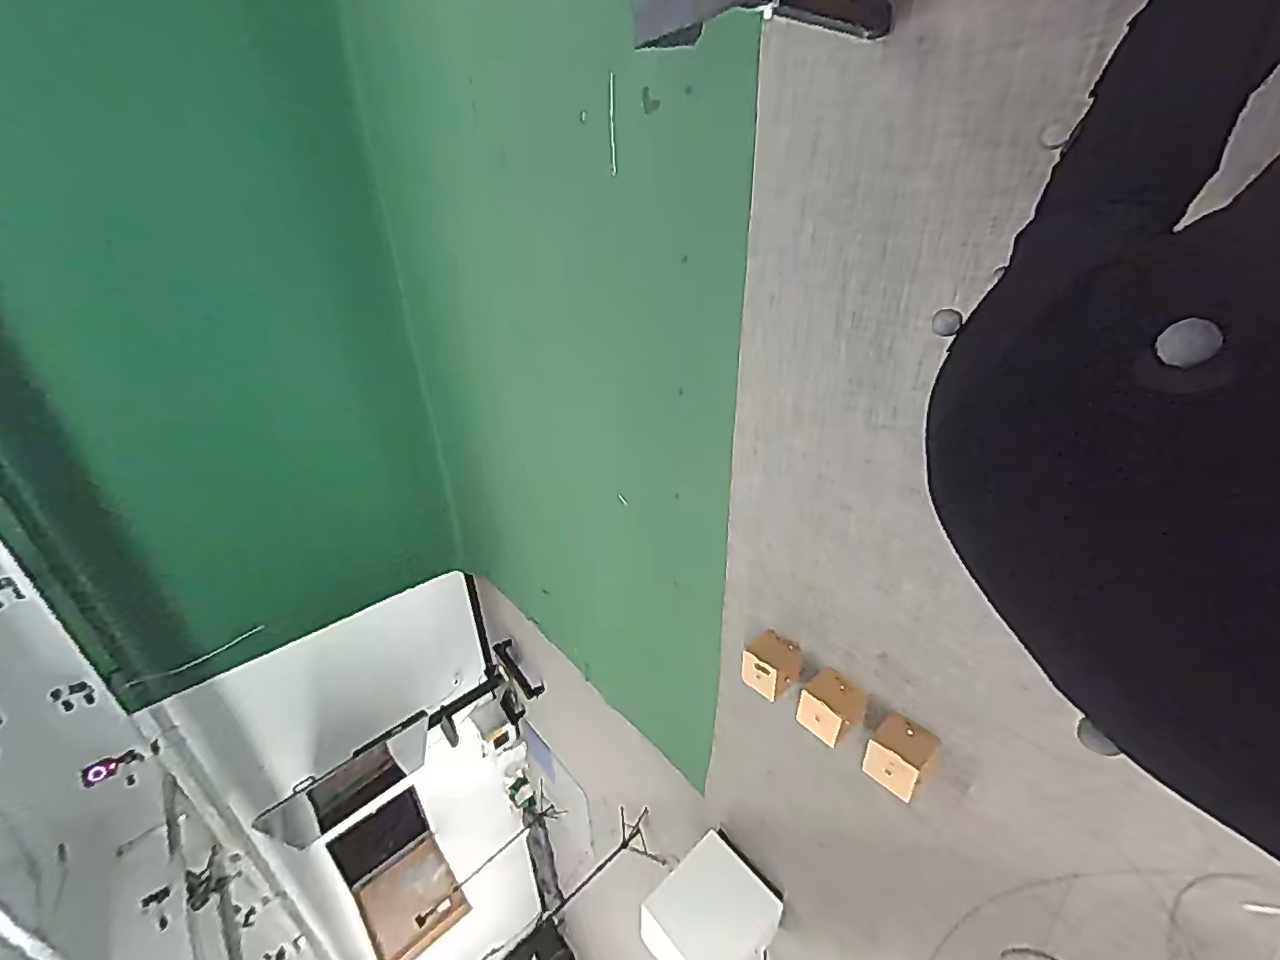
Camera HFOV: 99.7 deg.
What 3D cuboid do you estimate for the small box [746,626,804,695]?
[{"bbox_3d":[0.554,0.731,2.212,0.168,0.176,0.179,27,130,43],"label":"small box"}]

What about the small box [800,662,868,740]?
[{"bbox_3d":[0.730,0.826,2.033,0.168,0.176,0.179,30,131,41],"label":"small box"}]

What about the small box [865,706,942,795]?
[{"bbox_3d":[0.903,0.920,1.851,0.168,0.176,0.179,27,129,41],"label":"small box"}]
